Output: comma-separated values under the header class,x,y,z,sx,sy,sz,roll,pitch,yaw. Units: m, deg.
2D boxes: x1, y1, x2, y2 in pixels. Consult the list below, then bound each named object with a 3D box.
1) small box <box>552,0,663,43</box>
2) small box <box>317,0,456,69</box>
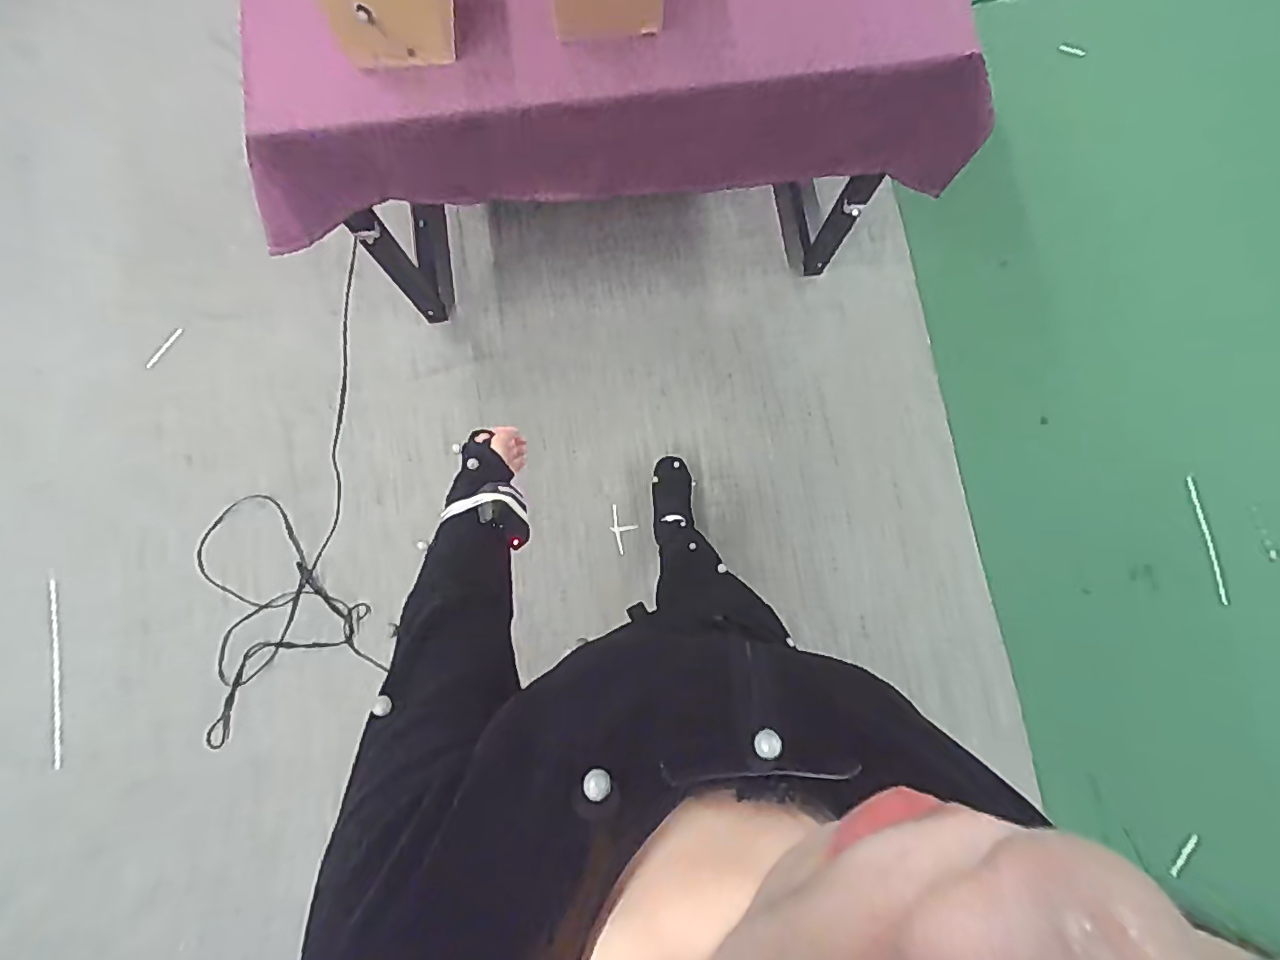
class,x,y,z,sx,sy,sz,roll,pitch,yaw
small box,-0.055,-0.815,0.828,0.179,0.176,0.168,-6,82,-2
small box,-0.385,-0.761,0.817,0.168,0.176,0.179,-4,80,-1
